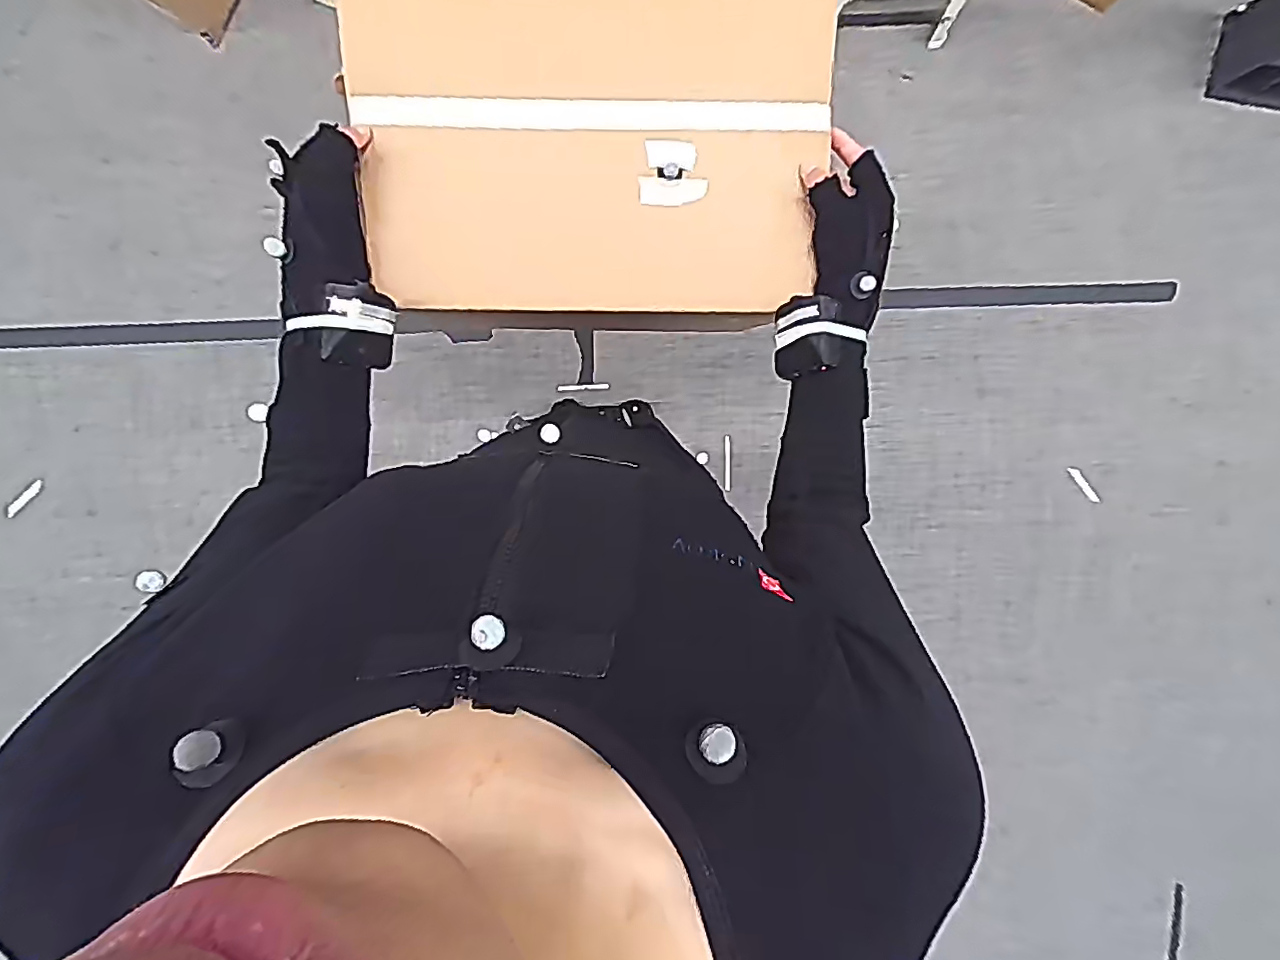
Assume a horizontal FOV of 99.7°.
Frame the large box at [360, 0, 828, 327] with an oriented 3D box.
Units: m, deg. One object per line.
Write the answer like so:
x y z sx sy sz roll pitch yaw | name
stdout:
-0.043 -0.348 0.622 0.408 0.320 0.320 0 103 -2 | large box
